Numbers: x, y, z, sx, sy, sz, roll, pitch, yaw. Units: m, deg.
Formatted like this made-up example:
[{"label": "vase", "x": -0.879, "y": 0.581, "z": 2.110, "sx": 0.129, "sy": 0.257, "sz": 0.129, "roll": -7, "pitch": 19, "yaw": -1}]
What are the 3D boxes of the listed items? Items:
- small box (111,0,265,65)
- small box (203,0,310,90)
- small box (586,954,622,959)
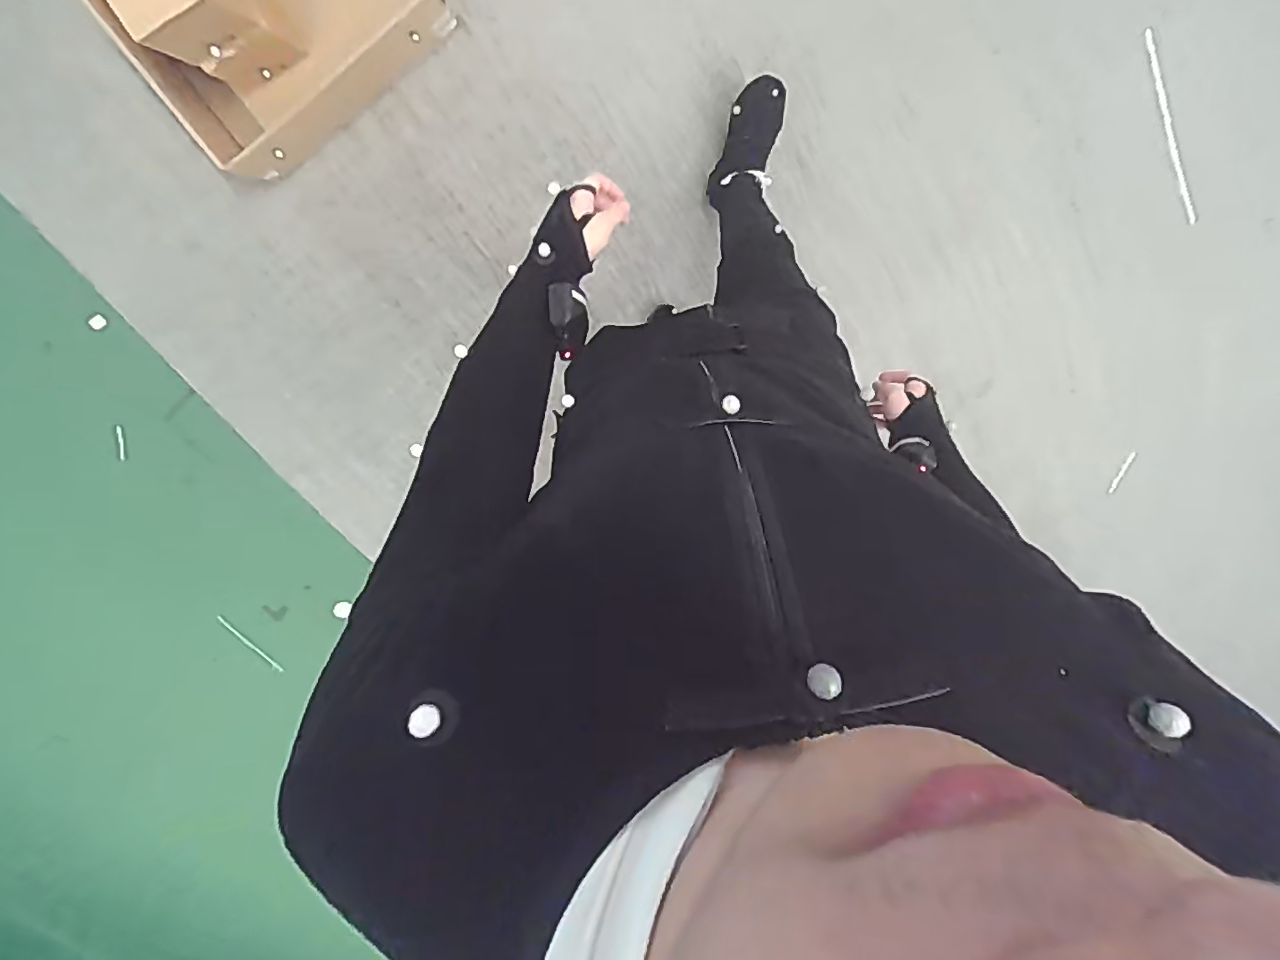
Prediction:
[{"label": "small box", "x": -0.844, "y": -0.906, "z": 0.978, "sx": 0.168, "sy": 0.176, "sz": 0.179, "roll": -23, "pitch": 113, "yaw": 8}, {"label": "small box", "x": -0.846, "y": -0.967, "z": 1.130, "sx": 0.168, "sy": 0.176, "sz": 0.179, "roll": -27, "pitch": 112, "yaw": 9}, {"label": "small box", "x": -0.101, "y": 1.427, "z": 1.457, "sx": 0.168, "sy": 0.176, "sz": 0.179, "roll": -30, "pitch": 113, "yaw": 12}]
